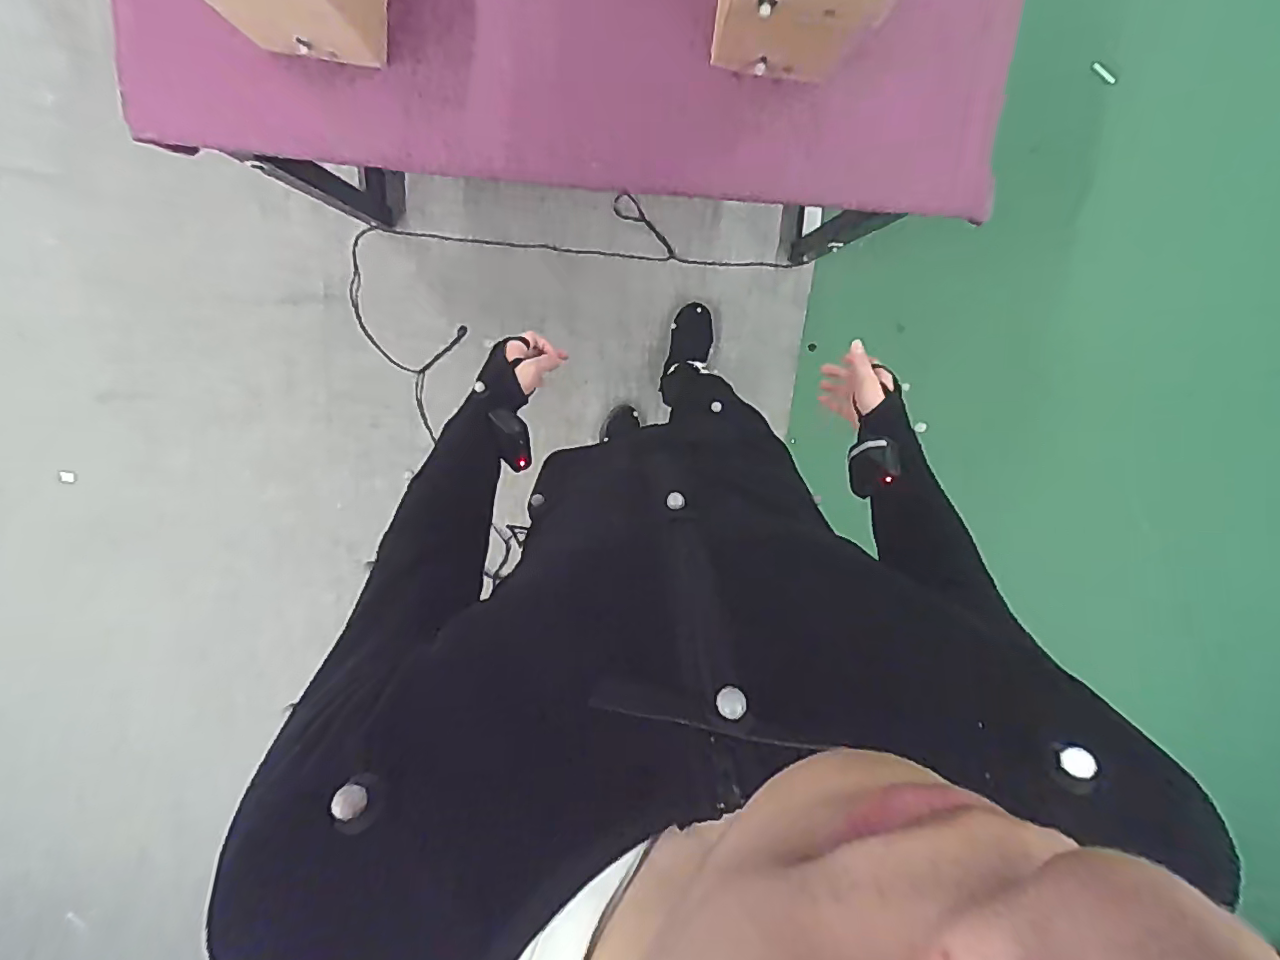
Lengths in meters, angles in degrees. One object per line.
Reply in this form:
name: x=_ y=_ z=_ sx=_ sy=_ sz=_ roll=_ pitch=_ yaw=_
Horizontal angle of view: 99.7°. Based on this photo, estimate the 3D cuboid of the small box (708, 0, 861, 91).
small box: x=0.182 y=-0.622 z=0.659 sx=0.168 sy=0.176 sz=0.179 roll=6 pitch=103 yaw=-2

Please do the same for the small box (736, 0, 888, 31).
small box: x=0.183 y=-0.567 z=0.503 sx=0.168 sy=0.176 sz=0.179 roll=4 pitch=101 yaw=-1
